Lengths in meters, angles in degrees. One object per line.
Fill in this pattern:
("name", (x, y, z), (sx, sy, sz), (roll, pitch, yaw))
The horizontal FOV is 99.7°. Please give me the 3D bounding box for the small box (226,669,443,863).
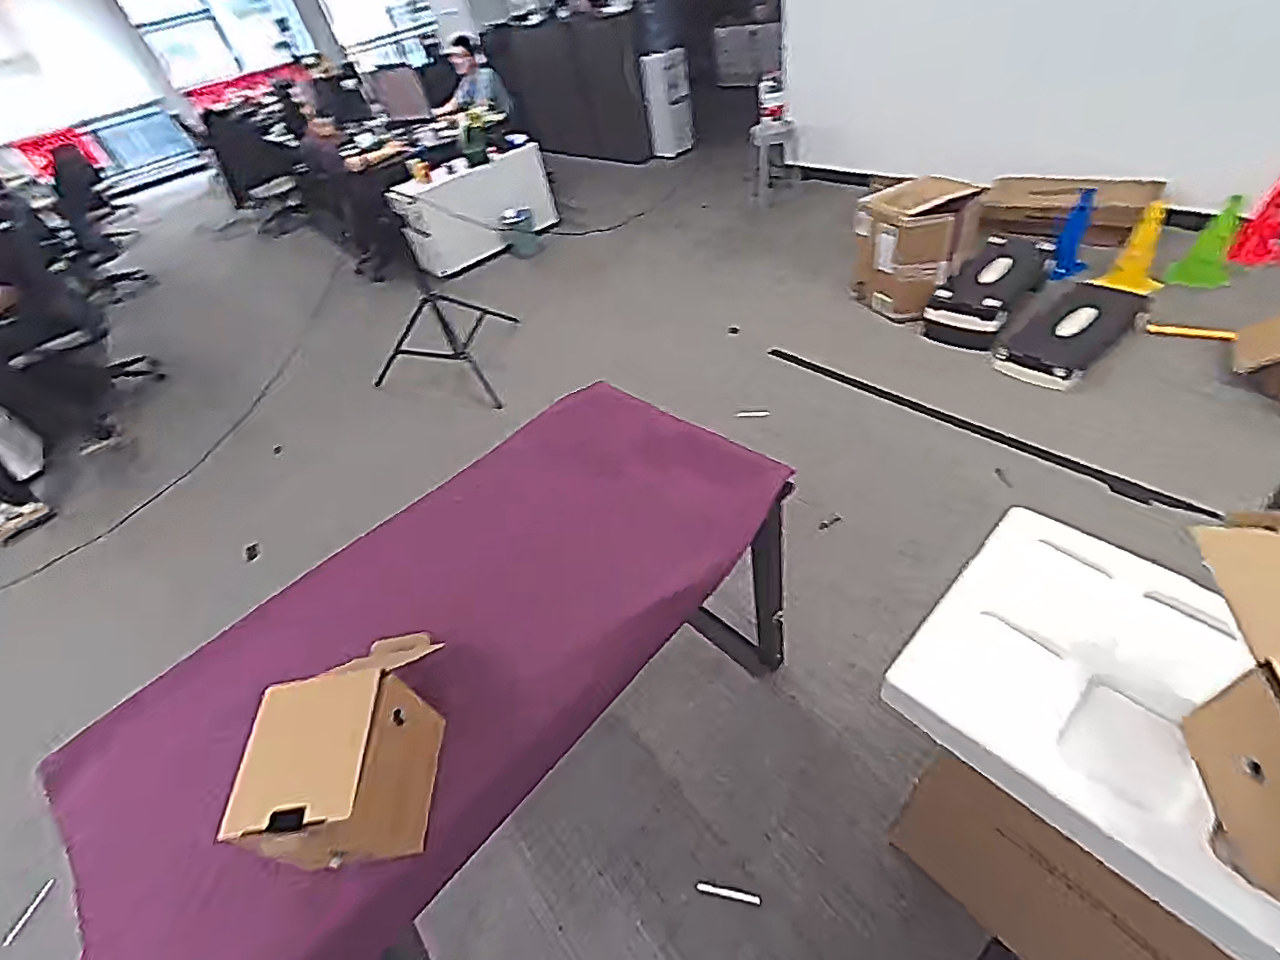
("small box", (-0.386, 0.385, 0.727), (0.168, 0.176, 0.179), (-11, 43, 6))
